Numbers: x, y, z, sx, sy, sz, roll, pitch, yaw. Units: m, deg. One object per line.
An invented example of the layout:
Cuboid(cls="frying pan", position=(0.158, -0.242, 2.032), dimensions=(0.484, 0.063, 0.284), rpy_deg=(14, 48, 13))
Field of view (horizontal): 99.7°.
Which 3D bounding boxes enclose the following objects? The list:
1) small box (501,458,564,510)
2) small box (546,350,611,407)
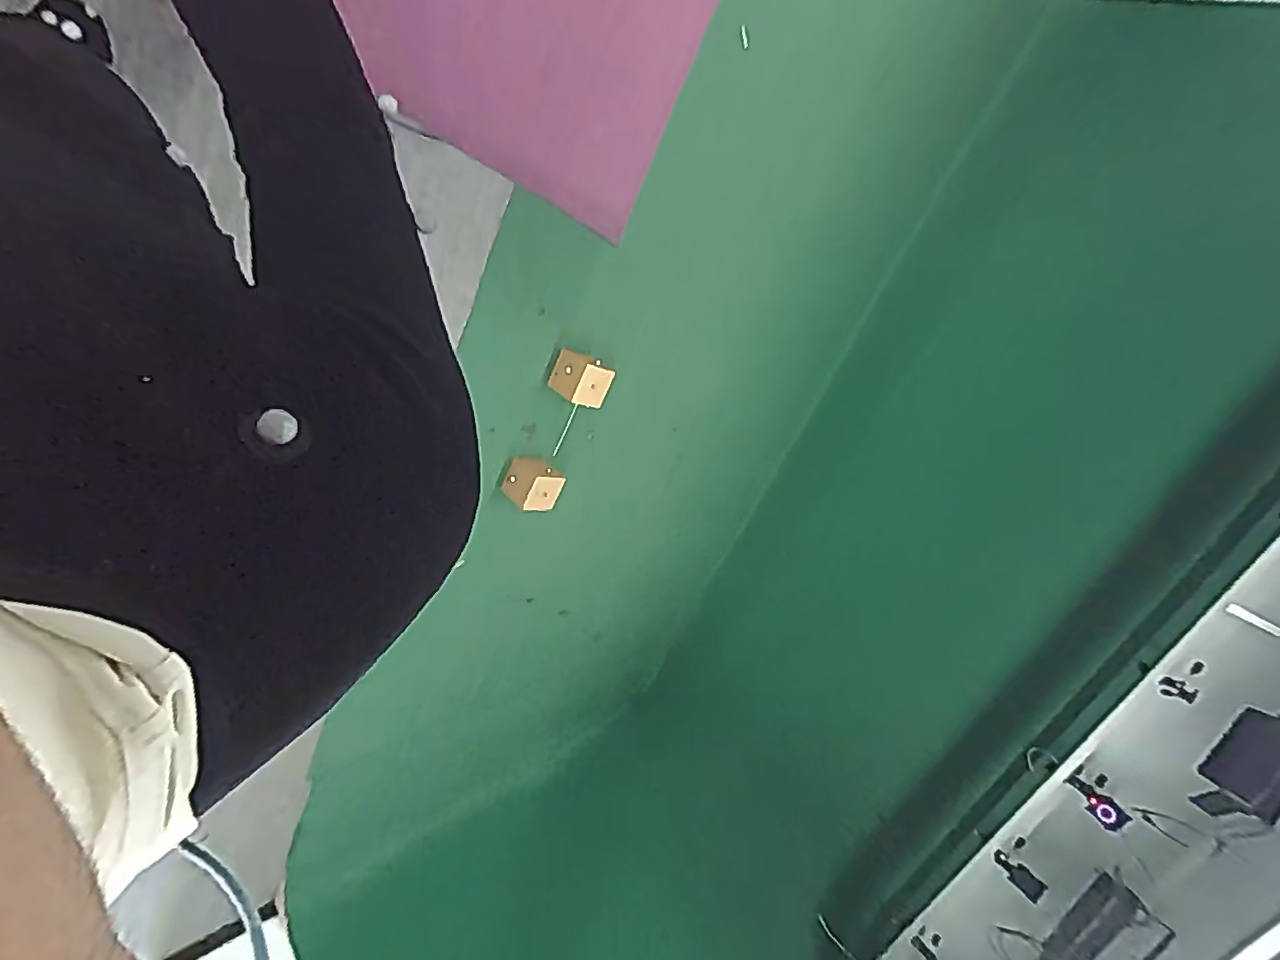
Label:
Cuboid(cls="small box", position=(-0.470, 0.018, 2.350), dimensions=(0.179, 0.176, 0.168), rpy_deg=(4, 117, -54))
Cuboid(cls="small box", position=(-0.256, -0.417, 2.215), dimensions=(0.179, 0.176, 0.168), rpy_deg=(1, 119, -55))
